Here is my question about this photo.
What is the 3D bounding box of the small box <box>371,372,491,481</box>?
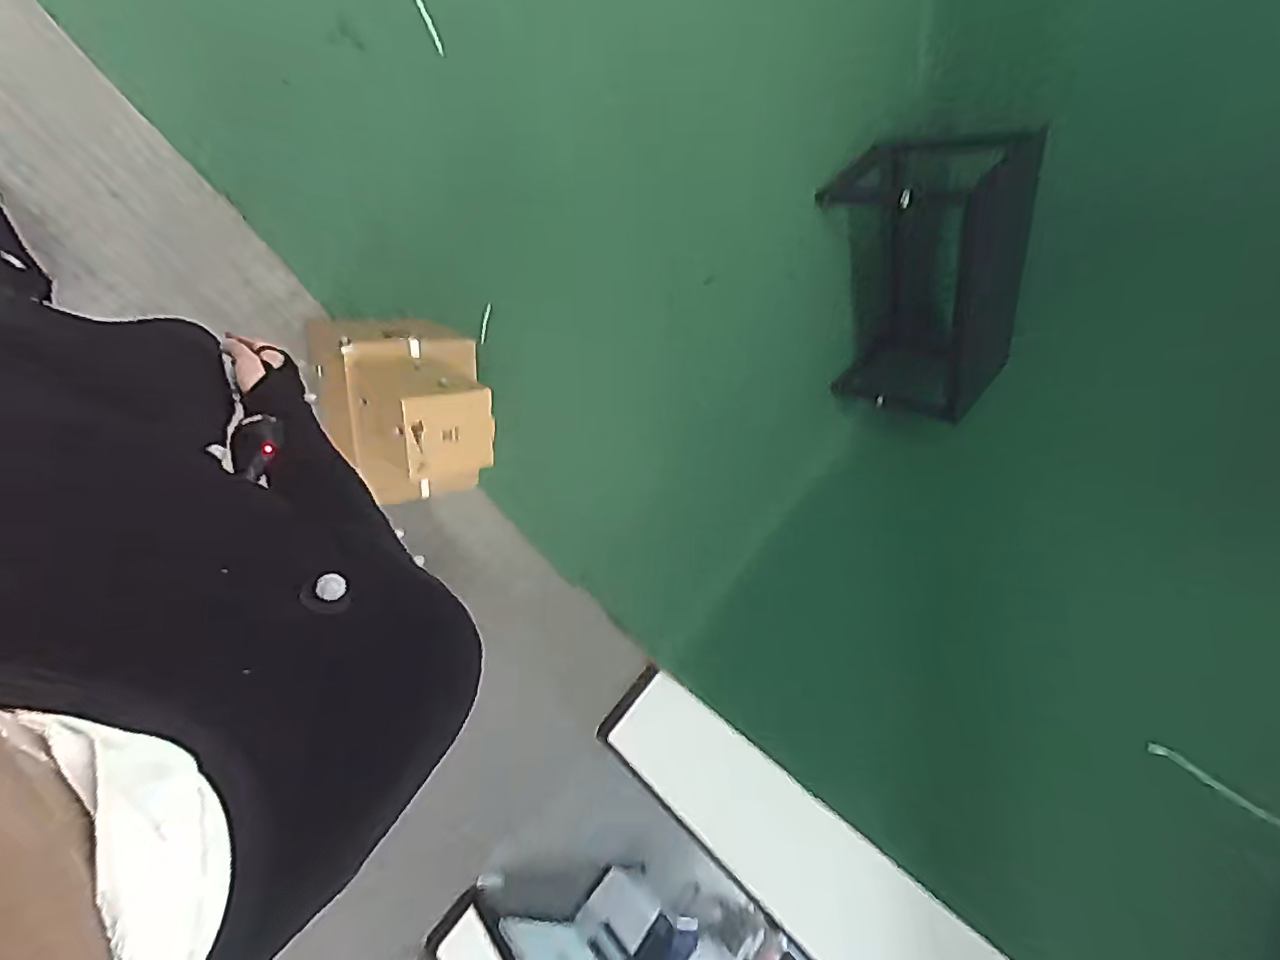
[{"bbox_3d":[-0.427,-0.118,1.111,0.179,0.176,0.168,-16,123,-39],"label":"small box"}]

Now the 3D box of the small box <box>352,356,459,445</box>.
[{"bbox_3d":[-0.527,-0.180,1.225,0.179,0.176,0.168,-15,121,-39],"label":"small box"}]
